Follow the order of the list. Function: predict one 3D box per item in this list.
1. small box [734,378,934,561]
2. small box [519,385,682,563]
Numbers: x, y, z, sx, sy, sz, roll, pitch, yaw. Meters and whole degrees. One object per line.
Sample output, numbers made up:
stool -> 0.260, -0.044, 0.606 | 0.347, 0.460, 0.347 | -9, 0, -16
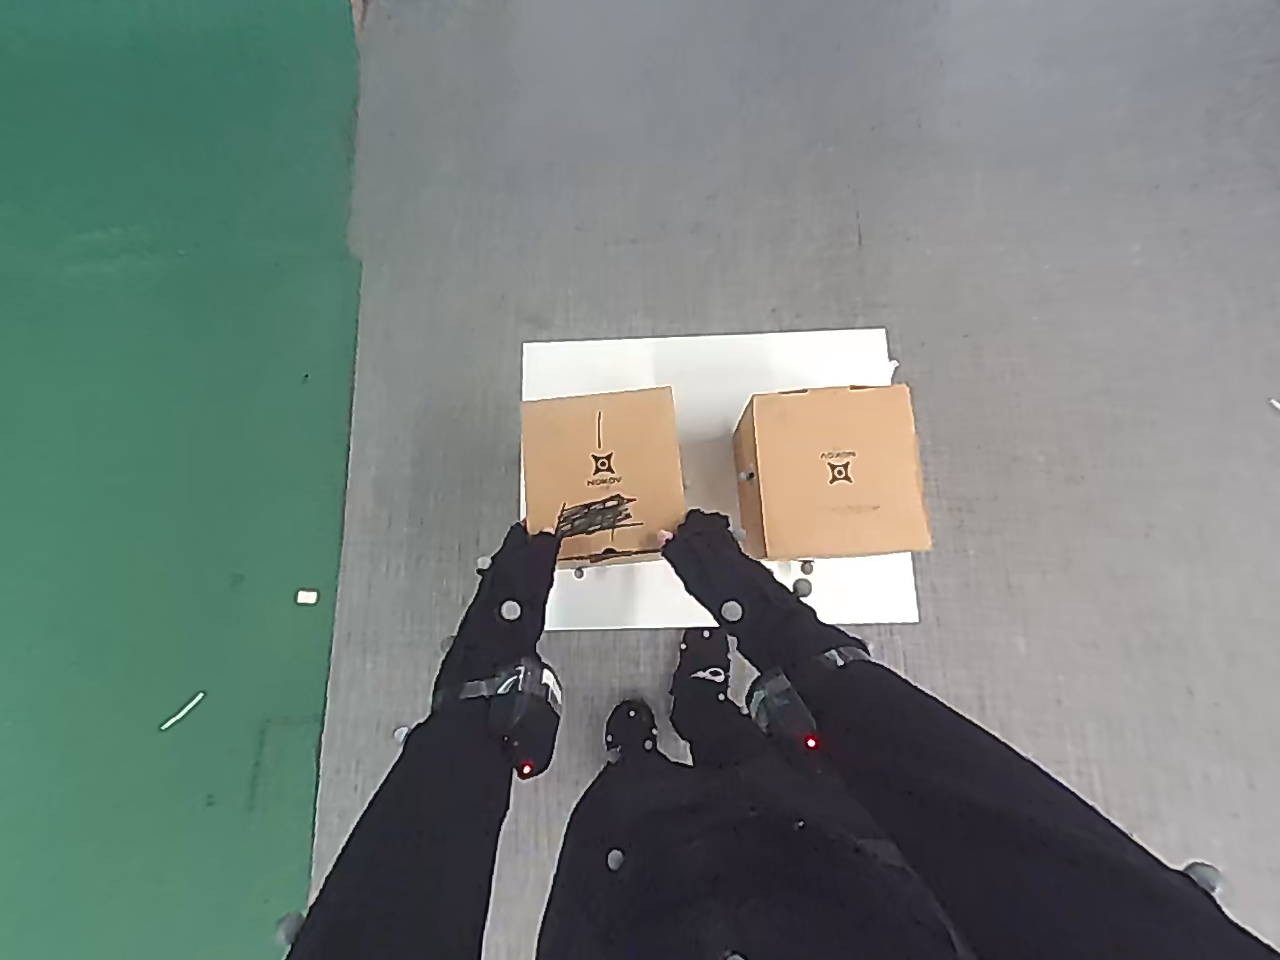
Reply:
small box -> 0.205, -0.001, 0.621 | 0.168, 0.176, 0.179 | -5, 81, 3
small box -> -0.039, 0.005, 0.643 | 0.168, 0.176, 0.179 | -6, 77, 1
